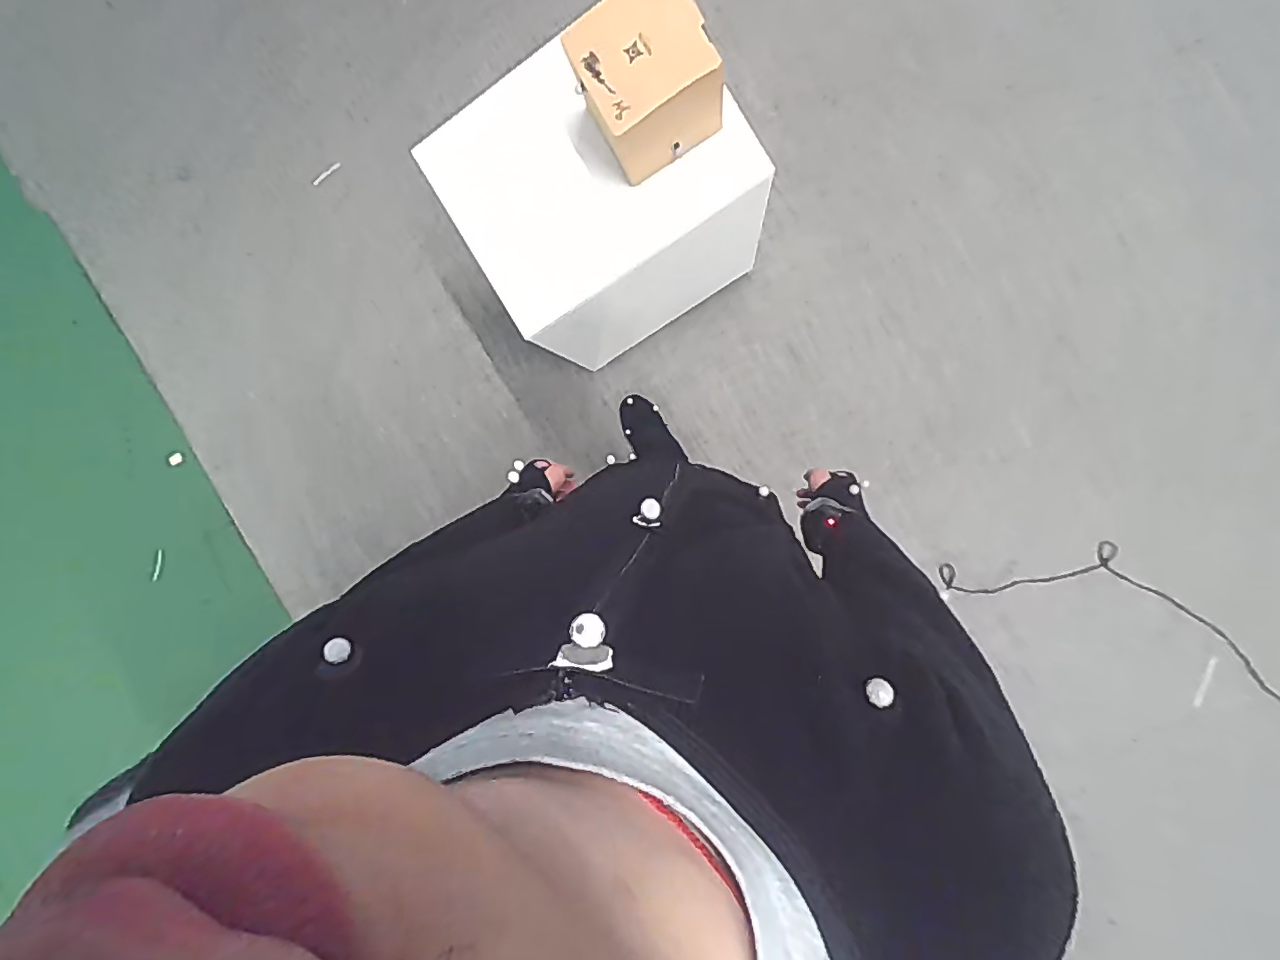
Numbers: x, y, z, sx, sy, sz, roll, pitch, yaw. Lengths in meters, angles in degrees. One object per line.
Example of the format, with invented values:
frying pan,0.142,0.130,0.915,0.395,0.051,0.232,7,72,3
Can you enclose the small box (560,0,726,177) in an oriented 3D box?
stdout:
small box,0.010,-0.602,0.809,0.179,0.176,0.168,-30,92,9
